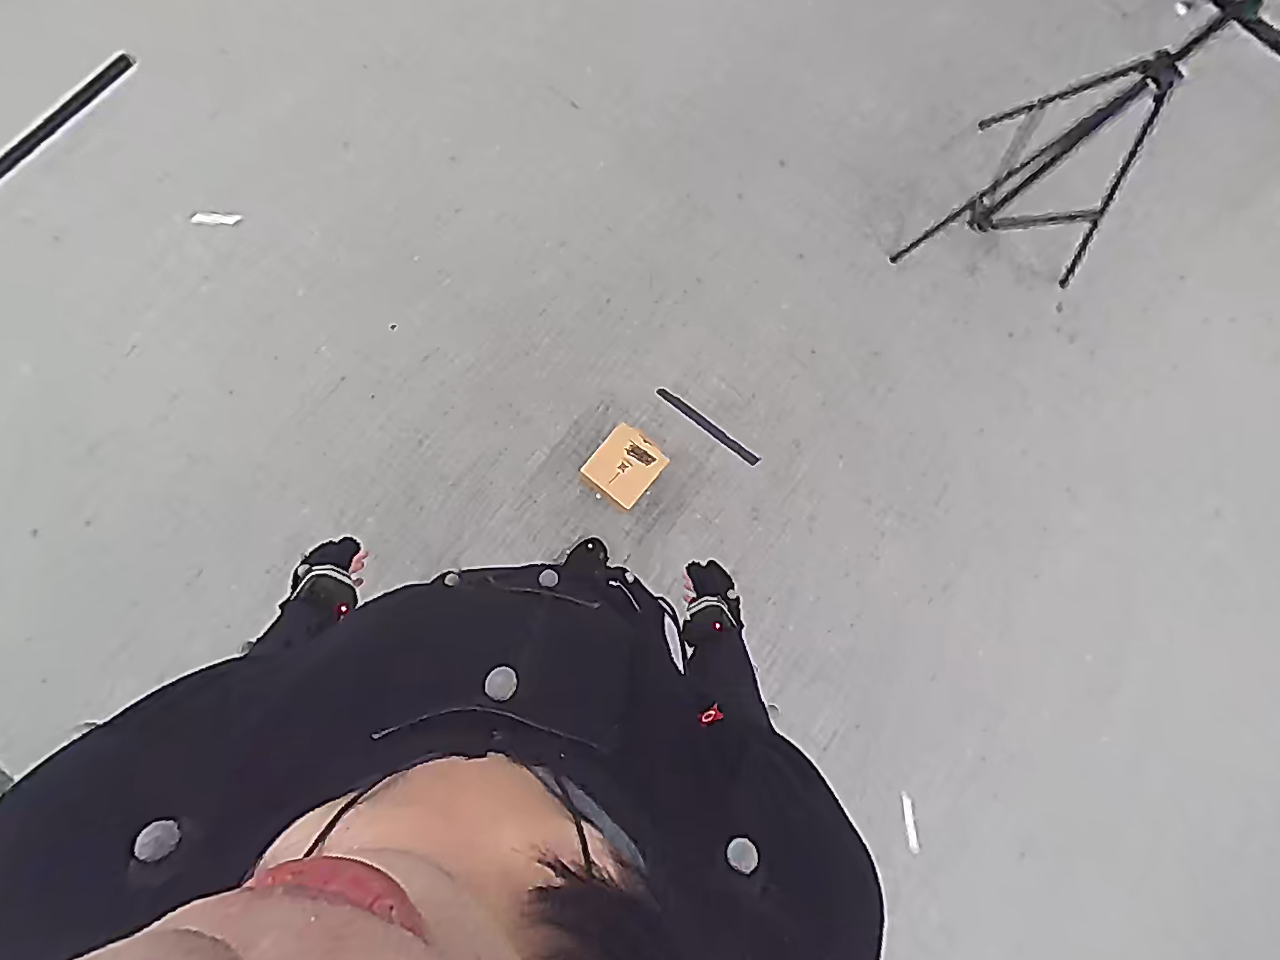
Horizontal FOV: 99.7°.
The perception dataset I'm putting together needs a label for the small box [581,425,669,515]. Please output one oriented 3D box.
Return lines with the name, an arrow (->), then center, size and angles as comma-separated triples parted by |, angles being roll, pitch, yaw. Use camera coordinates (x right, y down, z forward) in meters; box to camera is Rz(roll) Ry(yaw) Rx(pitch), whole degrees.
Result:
small box -> -0.047, -0.022, 1.486 | 0.168, 0.176, 0.179 | 40, 82, 1
